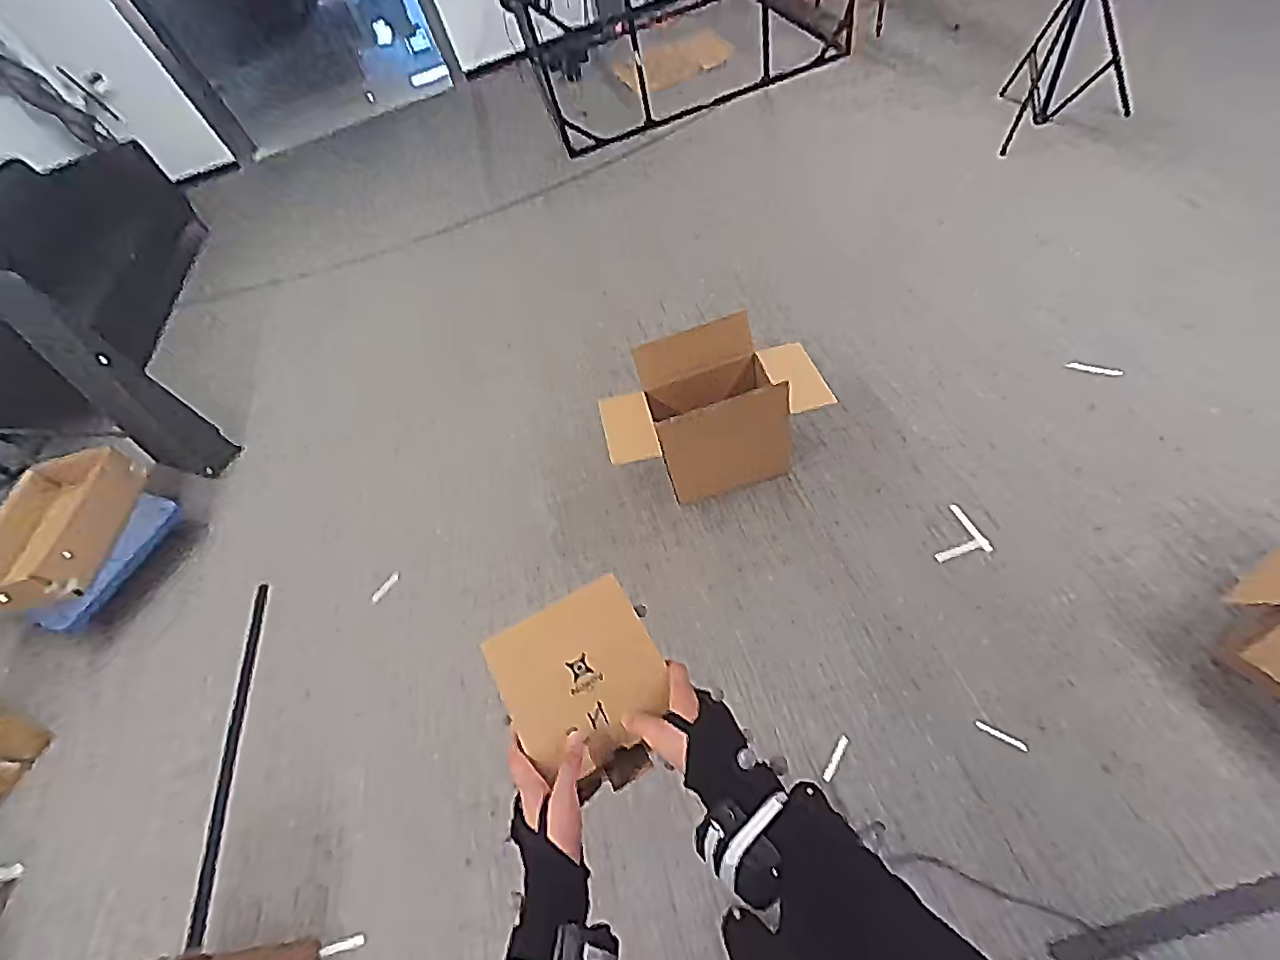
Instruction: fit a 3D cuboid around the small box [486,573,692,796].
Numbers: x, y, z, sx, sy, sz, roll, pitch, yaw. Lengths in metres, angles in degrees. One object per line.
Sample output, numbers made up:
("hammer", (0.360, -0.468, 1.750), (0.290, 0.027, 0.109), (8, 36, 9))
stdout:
("small box", (-0.057, 0.244, 0.634), (0.168, 0.176, 0.179), (-26, 62, -13))
